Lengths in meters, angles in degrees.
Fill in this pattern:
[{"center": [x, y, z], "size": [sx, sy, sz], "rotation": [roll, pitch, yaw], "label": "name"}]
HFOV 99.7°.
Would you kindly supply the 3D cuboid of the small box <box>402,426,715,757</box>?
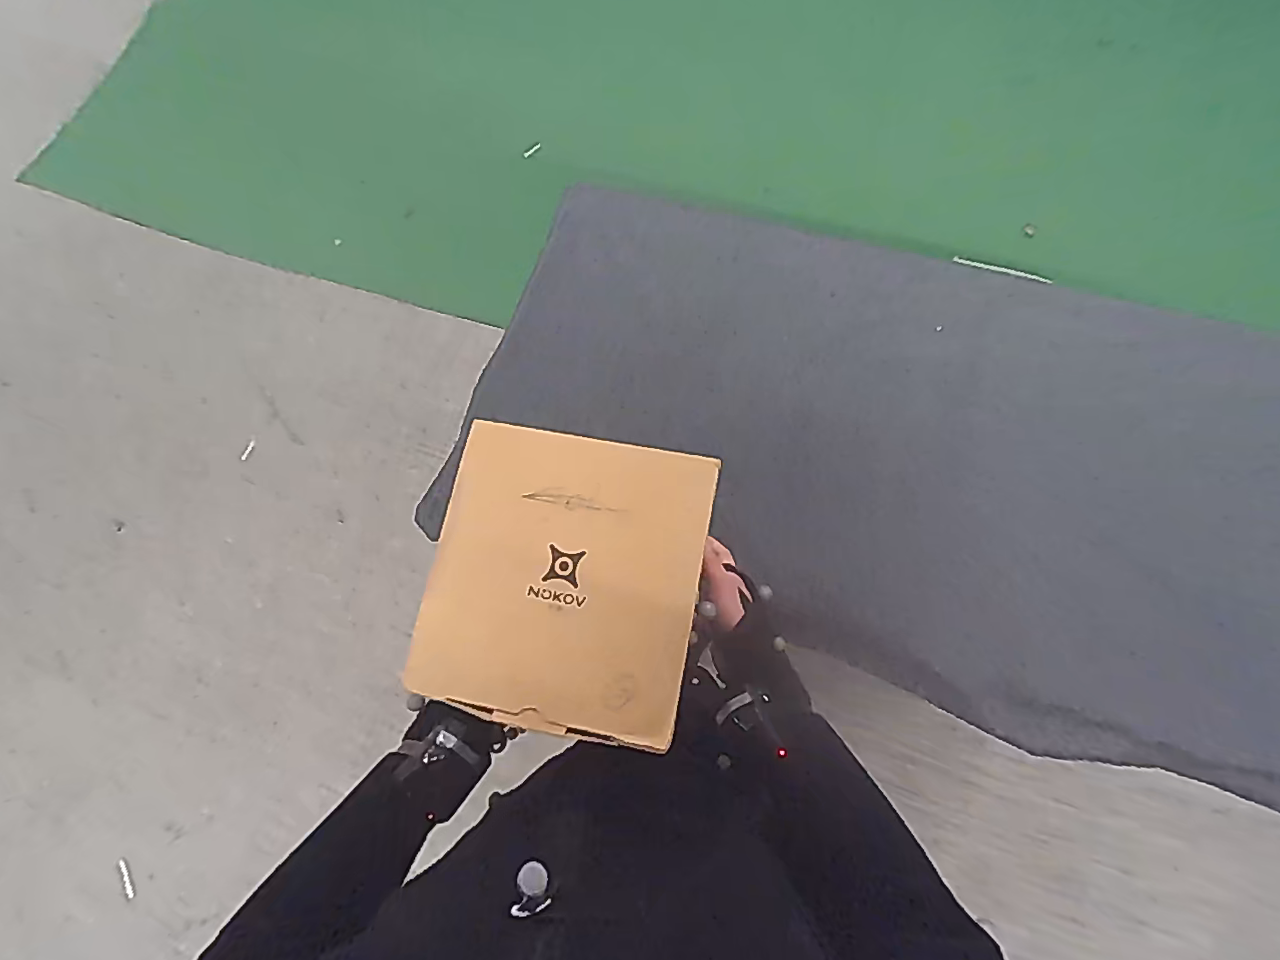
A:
[{"center": [-0.041, 0.079, 0.406], "size": [0.168, 0.176, 0.179], "rotation": [9, 76, 6], "label": "small box"}]
